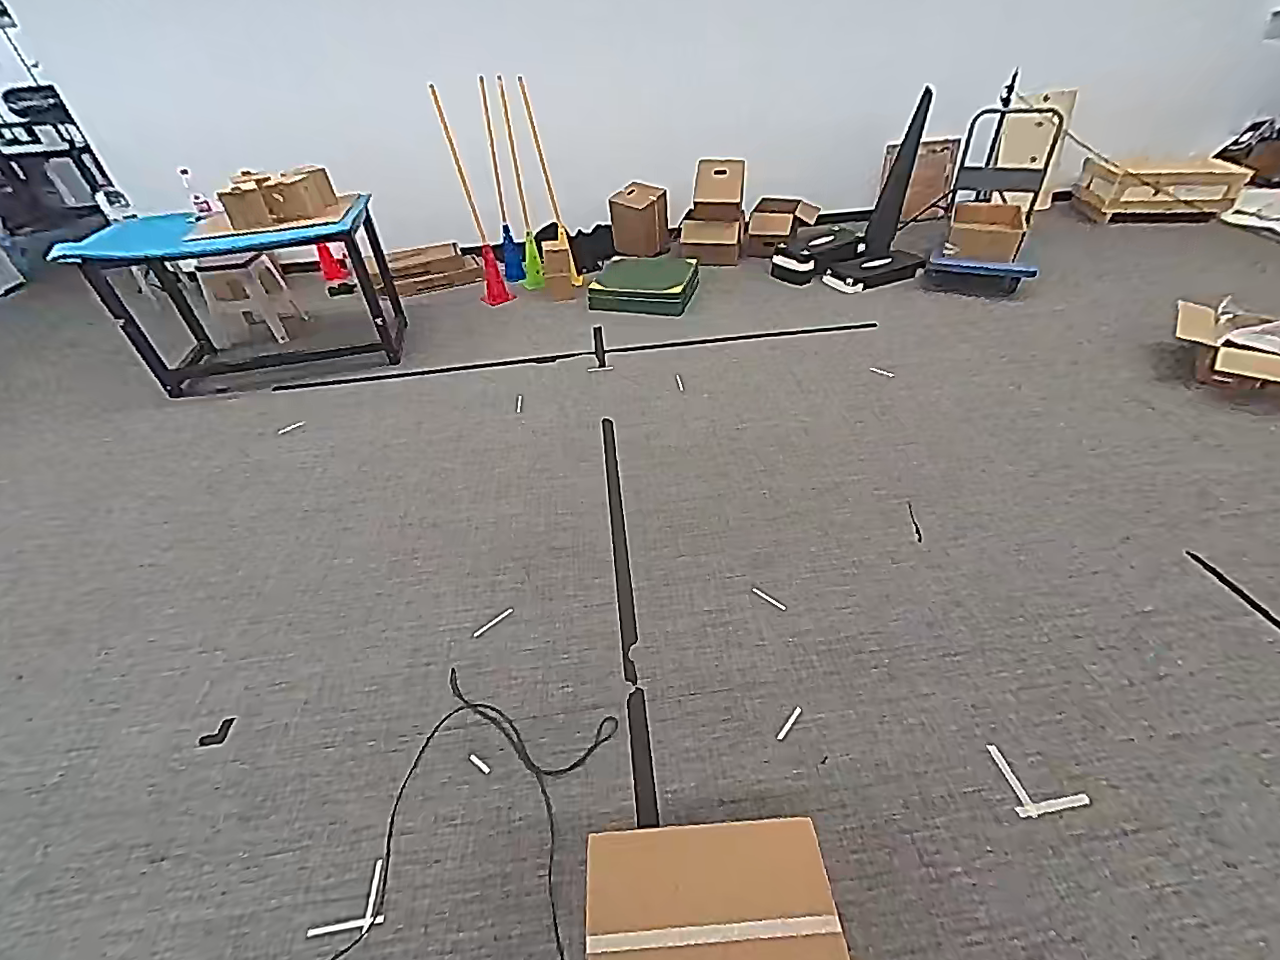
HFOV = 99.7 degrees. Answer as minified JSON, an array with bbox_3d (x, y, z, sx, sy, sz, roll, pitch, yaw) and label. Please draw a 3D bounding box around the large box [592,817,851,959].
[{"bbox_3d":[0.129,0.836,0.948,0.408,0.320,0.320,-4,40,-1],"label":"large box"}]
